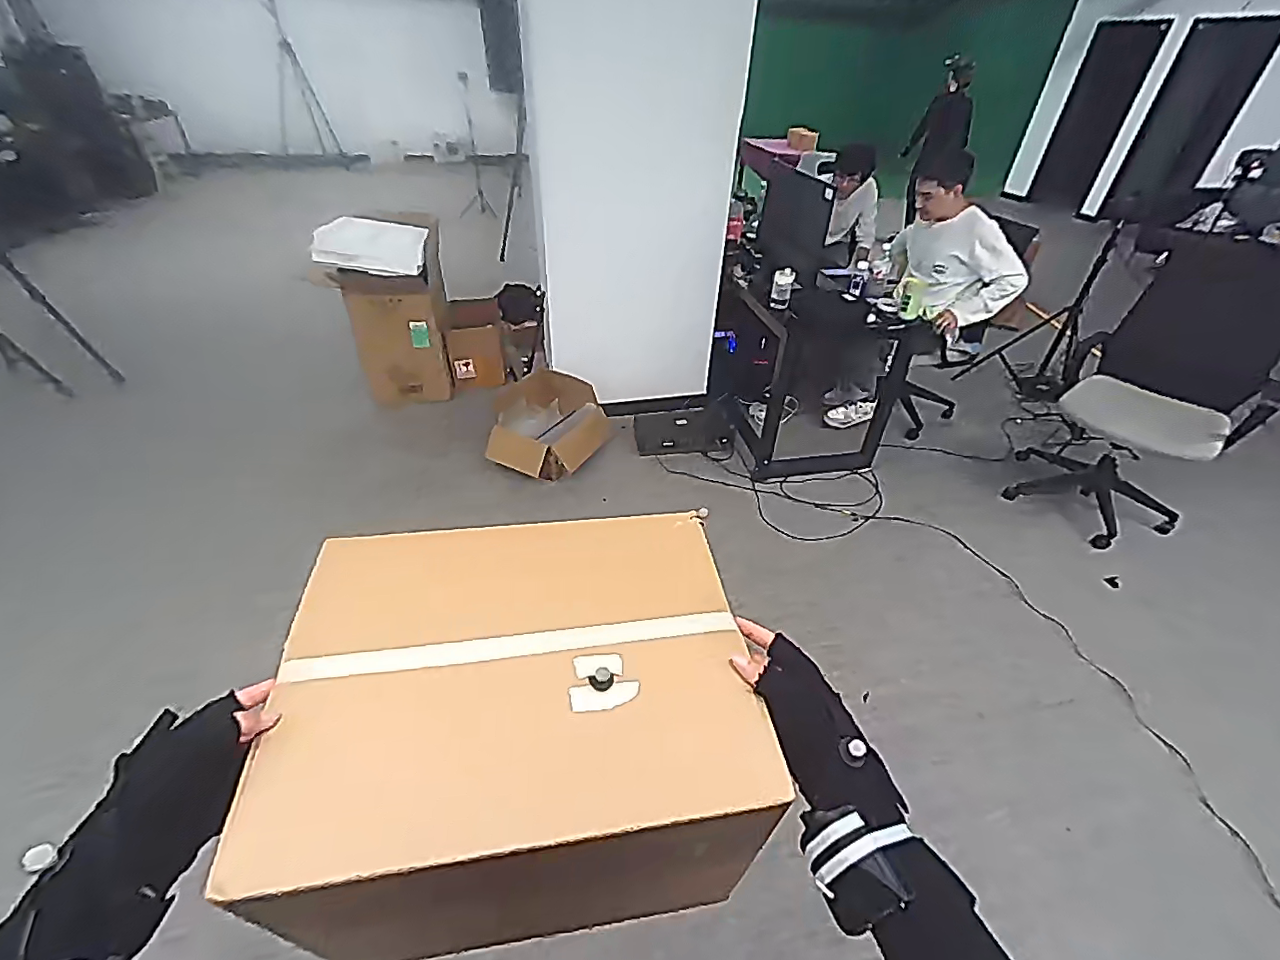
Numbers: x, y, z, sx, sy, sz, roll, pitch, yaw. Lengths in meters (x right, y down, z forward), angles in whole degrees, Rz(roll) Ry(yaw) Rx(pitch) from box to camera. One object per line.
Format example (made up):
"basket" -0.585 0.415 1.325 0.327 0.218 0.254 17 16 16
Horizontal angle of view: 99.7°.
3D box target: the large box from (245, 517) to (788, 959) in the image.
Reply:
"large box" -0.111 0.269 0.601 0.408 0.320 0.320 -3 42 -10
